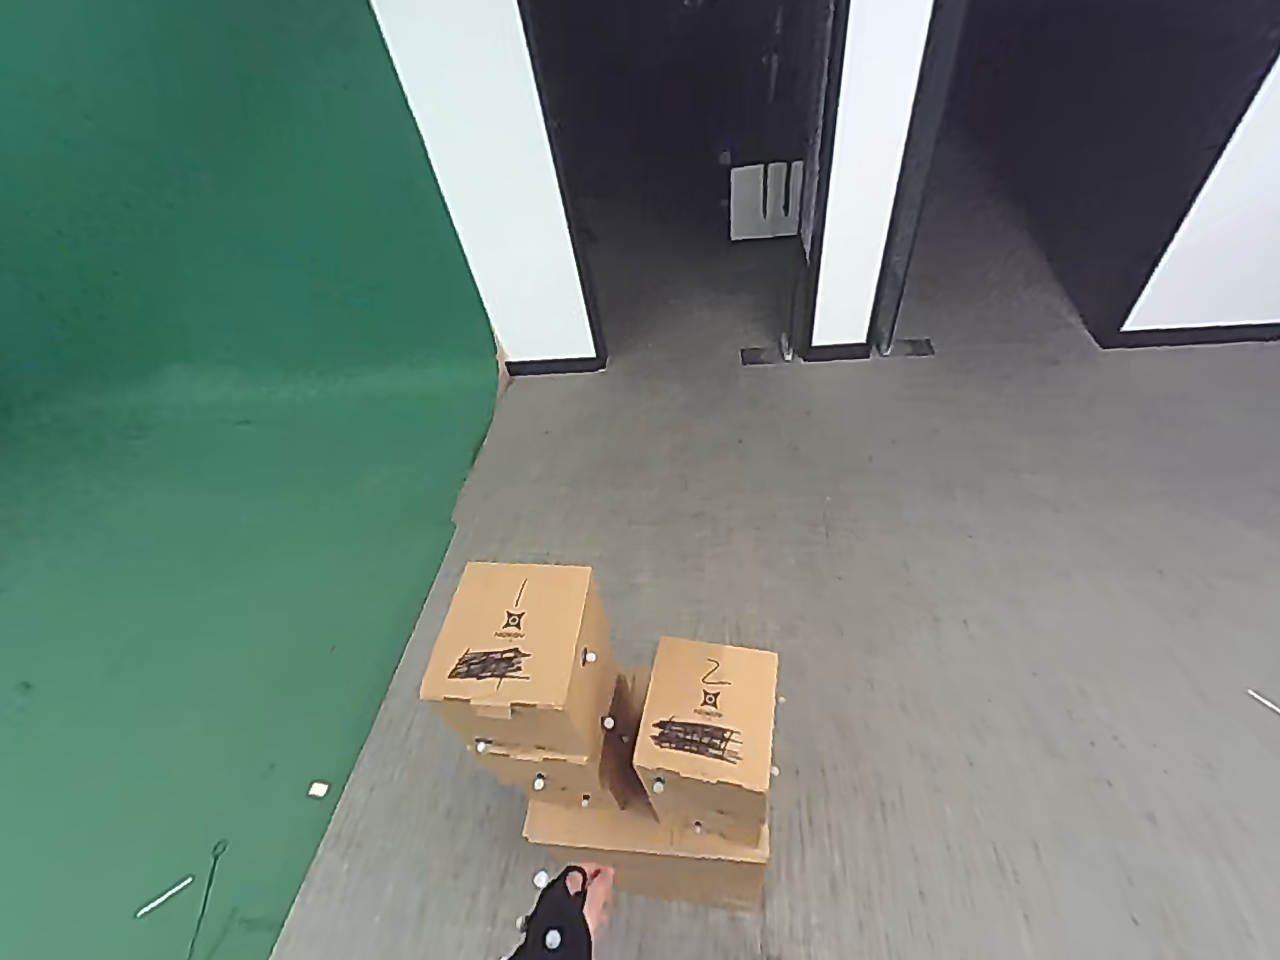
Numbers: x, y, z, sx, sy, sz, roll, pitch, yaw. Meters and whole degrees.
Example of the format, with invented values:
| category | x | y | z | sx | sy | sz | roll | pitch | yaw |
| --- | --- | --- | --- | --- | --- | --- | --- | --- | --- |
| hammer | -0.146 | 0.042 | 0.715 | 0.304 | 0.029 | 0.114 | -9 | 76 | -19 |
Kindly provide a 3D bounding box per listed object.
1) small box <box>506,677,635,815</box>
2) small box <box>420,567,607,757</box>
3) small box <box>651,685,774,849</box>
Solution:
| category | x | y | z | sx | sy | sz | roll | pitch | yaw |
| --- | --- | --- | --- | --- | --- | --- | --- | --- | --- |
| small box | -0.105 | 0.451 | 0.922 | 0.168 | 0.176 | 0.179 | 2 | 48 | 9 |
| small box | -0.140 | 0.230 | 0.681 | 0.168 | 0.176 | 0.179 | 0 | 46 | 8 |
| small box | 0.122 | 0.460 | 0.869 | 0.168 | 0.176 | 0.179 | 4 | 48 | 15 |
